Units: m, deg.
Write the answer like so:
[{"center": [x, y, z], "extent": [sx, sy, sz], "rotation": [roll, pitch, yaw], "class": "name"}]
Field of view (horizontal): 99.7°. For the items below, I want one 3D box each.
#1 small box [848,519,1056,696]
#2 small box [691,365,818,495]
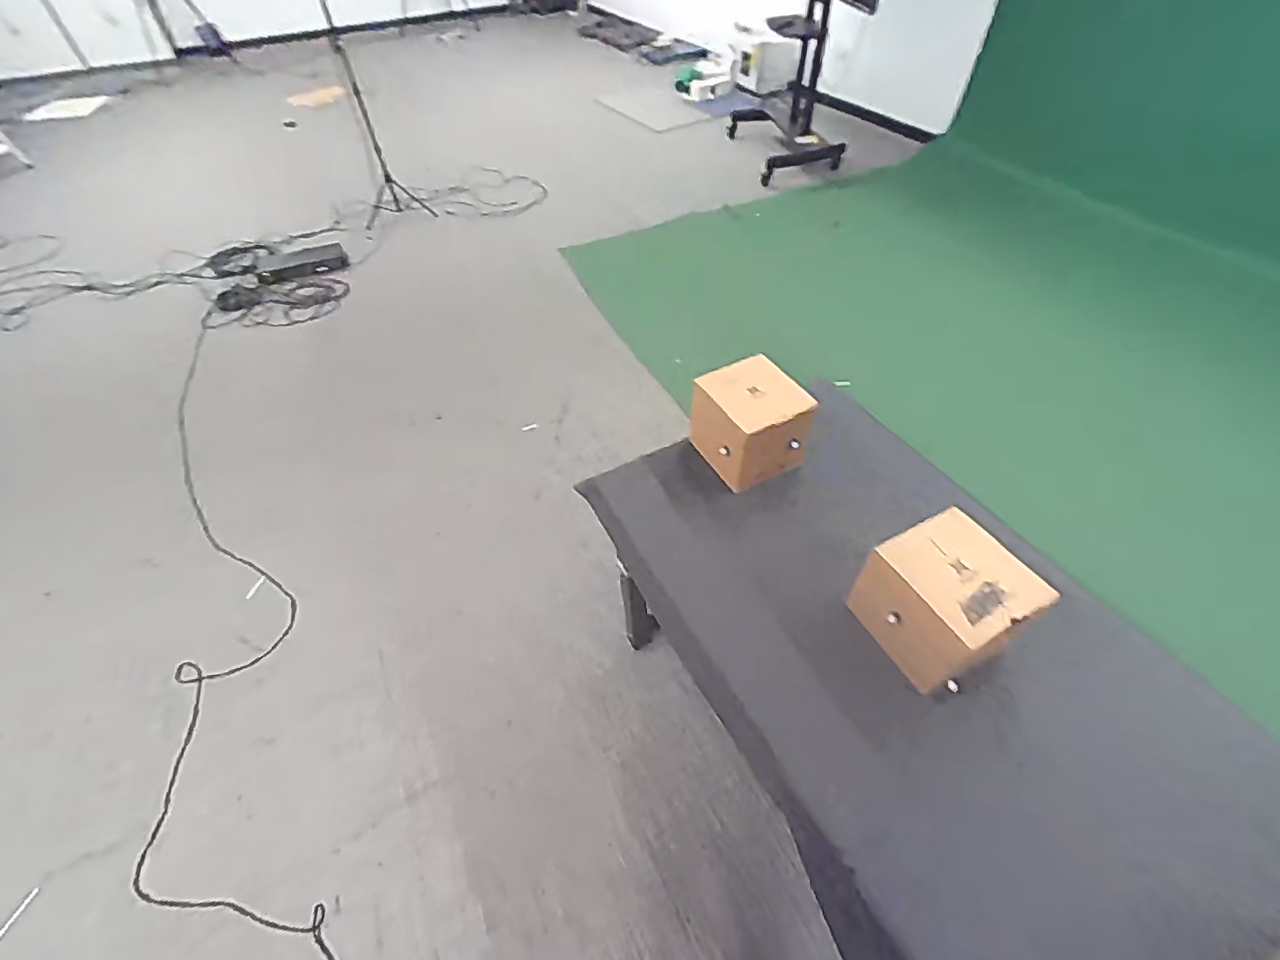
[{"center": [0.447, 0.196, 0.806], "extent": [0.168, 0.176, 0.179], "rotation": [-20, 50, -17], "class": "small box"}, {"center": [0.215, -0.092, 1.066], "extent": [0.168, 0.176, 0.179], "rotation": [-22, 51, -20], "class": "small box"}]
